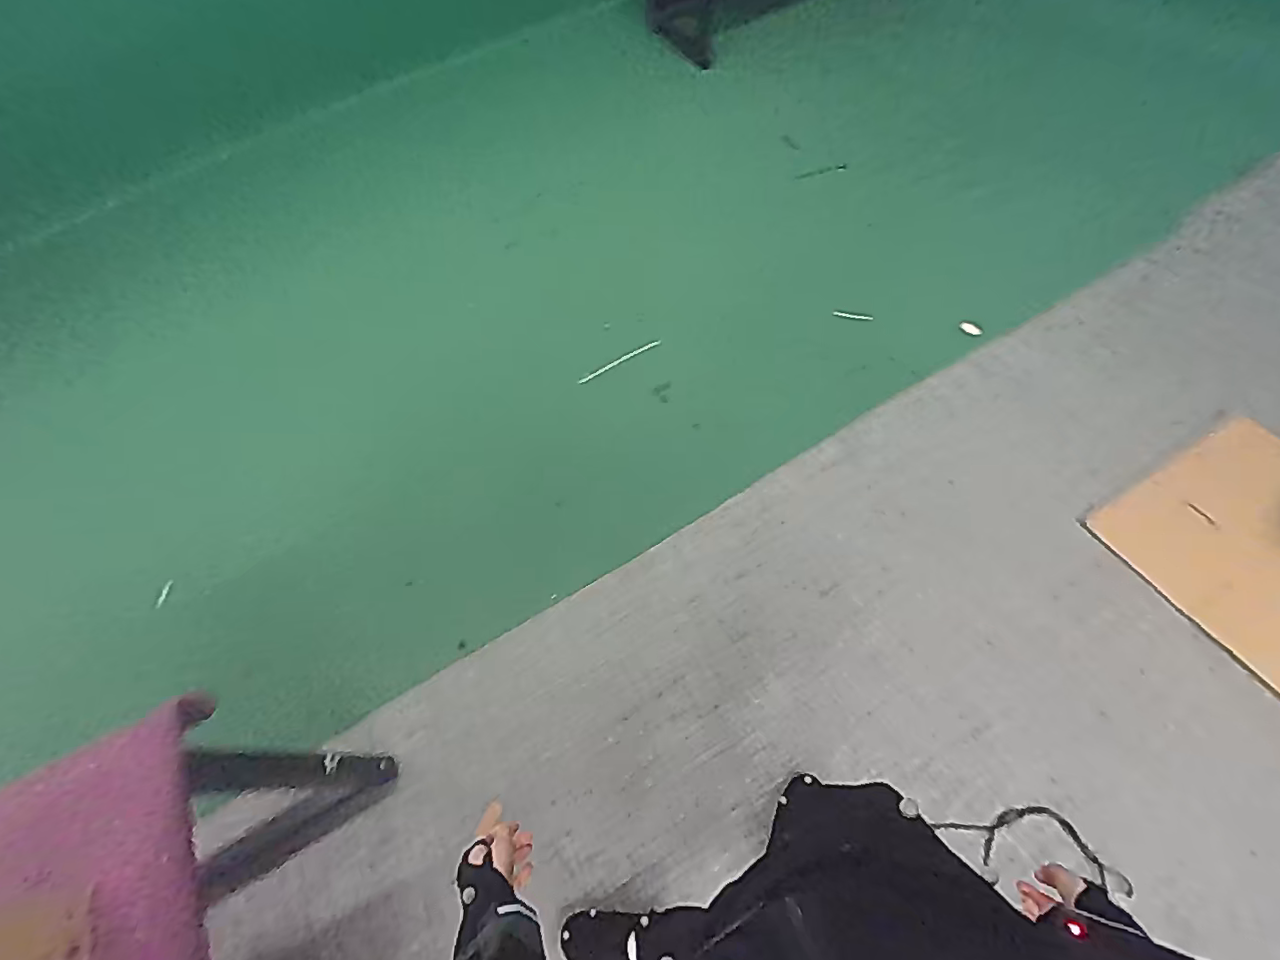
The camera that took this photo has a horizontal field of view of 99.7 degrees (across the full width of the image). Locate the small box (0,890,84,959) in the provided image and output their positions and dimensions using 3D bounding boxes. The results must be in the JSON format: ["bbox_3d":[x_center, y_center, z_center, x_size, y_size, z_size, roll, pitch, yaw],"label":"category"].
[{"bbox_3d":[-0.713,0.549,0.534,0.179,0.176,0.168,-28,62,-7],"label":"small box"}]
